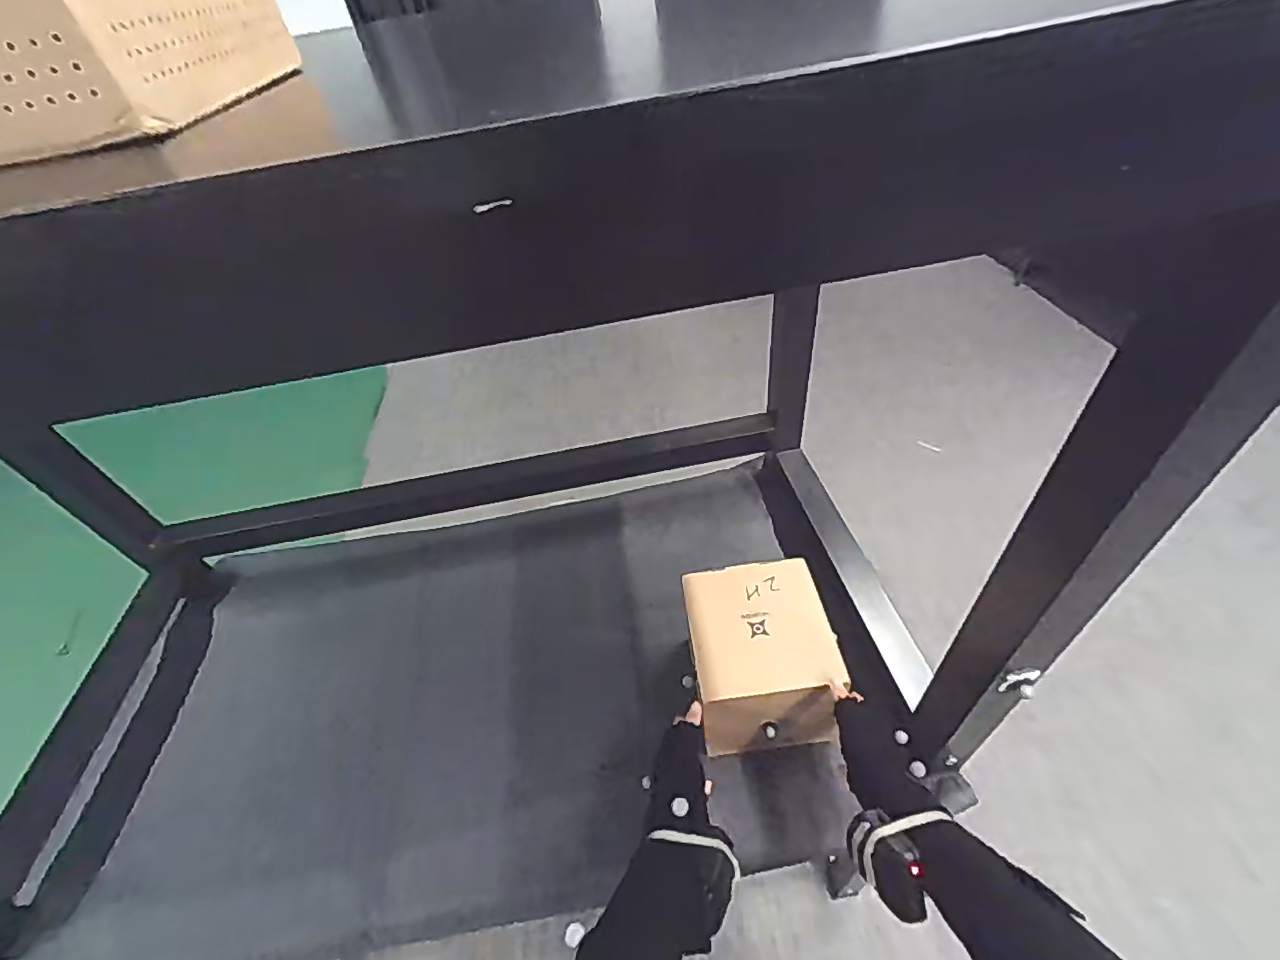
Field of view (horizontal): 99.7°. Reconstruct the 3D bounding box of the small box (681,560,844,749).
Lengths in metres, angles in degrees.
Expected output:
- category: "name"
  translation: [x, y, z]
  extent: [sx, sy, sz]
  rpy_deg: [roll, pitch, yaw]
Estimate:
- category: "small box"
  translation: [0.150, 0.233, 0.709]
  extent: [0.168, 0.176, 0.179]
  rpy_deg: [-8, 43, 2]
